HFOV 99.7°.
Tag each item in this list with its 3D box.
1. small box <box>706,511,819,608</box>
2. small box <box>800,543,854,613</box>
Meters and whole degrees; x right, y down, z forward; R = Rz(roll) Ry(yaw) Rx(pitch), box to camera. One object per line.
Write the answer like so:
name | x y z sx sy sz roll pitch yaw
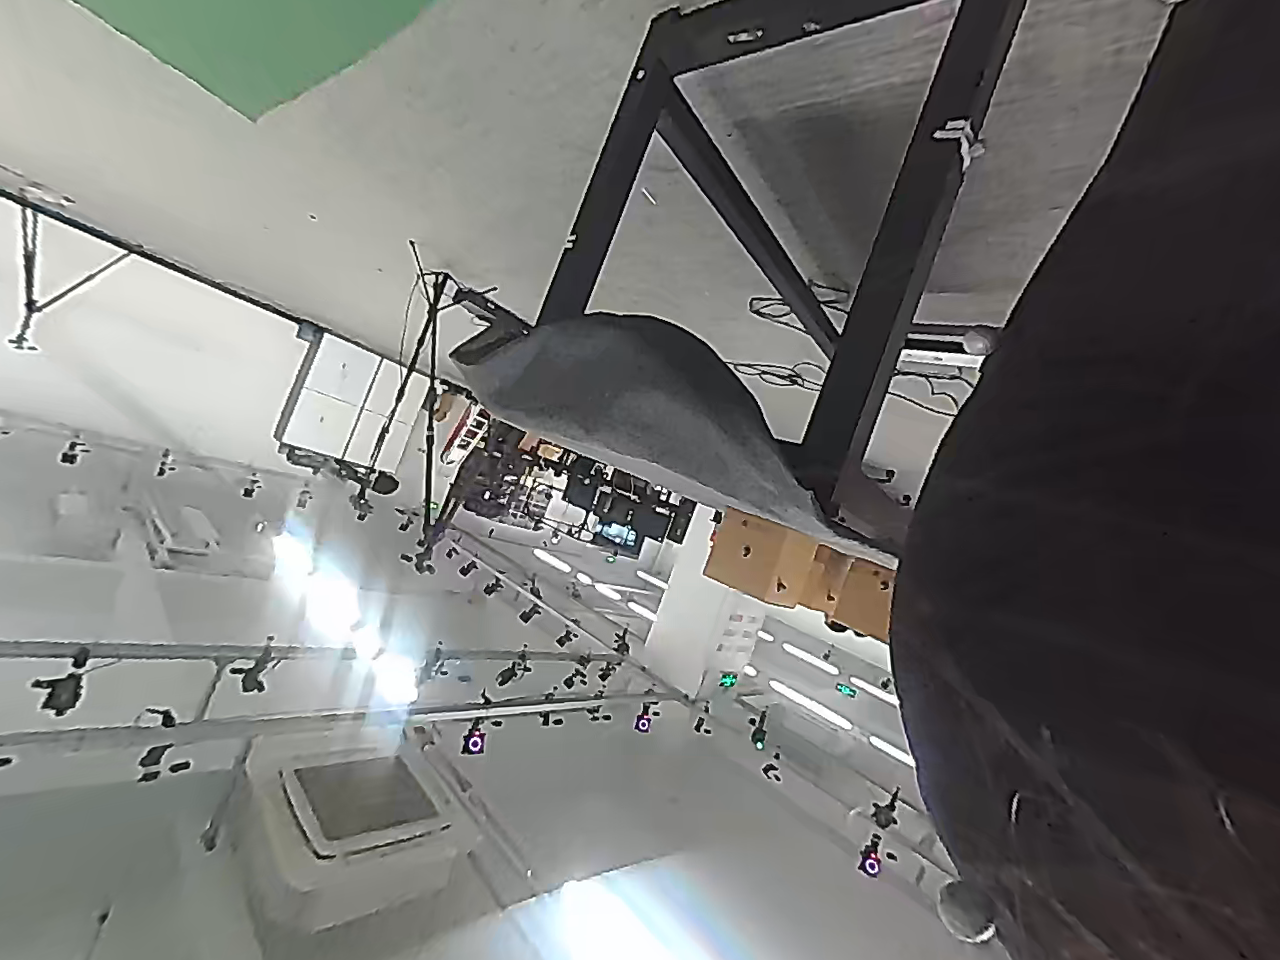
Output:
small box | 0.286 0.180 1.247 0.168 0.176 0.179 19 177 42
small box | 0.455 0.247 1.468 0.168 0.176 0.179 18 178 42
